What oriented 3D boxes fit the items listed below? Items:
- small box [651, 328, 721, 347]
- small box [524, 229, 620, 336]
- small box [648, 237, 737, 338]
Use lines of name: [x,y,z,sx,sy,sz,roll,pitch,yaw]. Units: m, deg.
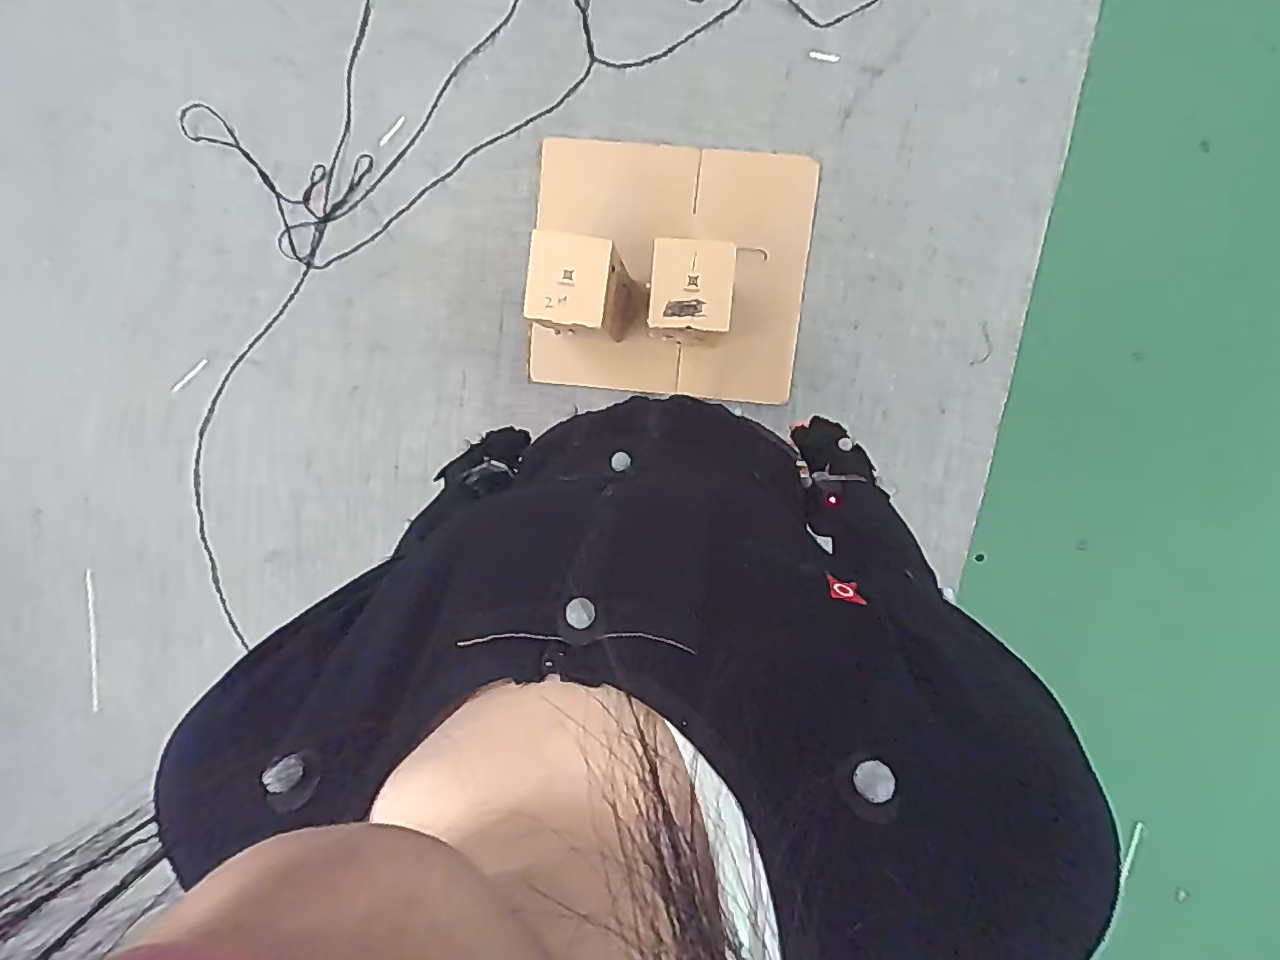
small box: [0.117,-0.427,1.319,0.168,0.176,0.179,5,100,3]
small box: [-0.139,-0.418,1.169,0.168,0.176,0.179,9,100,4]
small box: [0.109,-0.403,1.157,0.168,0.176,0.179,4,99,3]
